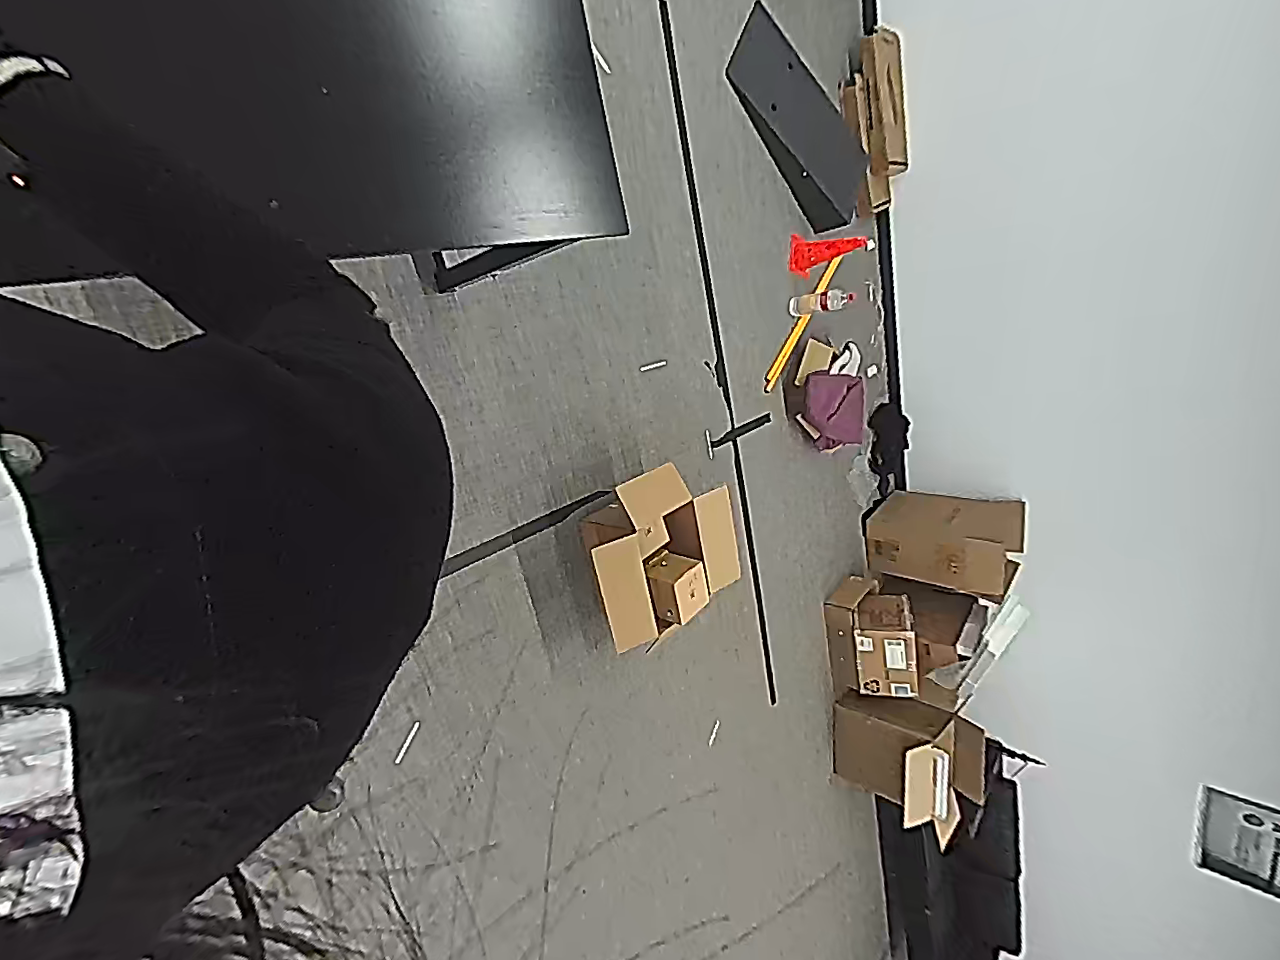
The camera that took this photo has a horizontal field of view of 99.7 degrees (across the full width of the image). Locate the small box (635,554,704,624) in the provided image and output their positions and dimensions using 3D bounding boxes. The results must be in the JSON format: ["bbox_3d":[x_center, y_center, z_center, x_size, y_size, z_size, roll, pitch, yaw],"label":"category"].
[{"bbox_3d":[0.106,0.388,1.962,0.168,0.176,0.179,-30,116,-40],"label":"small box"}]
